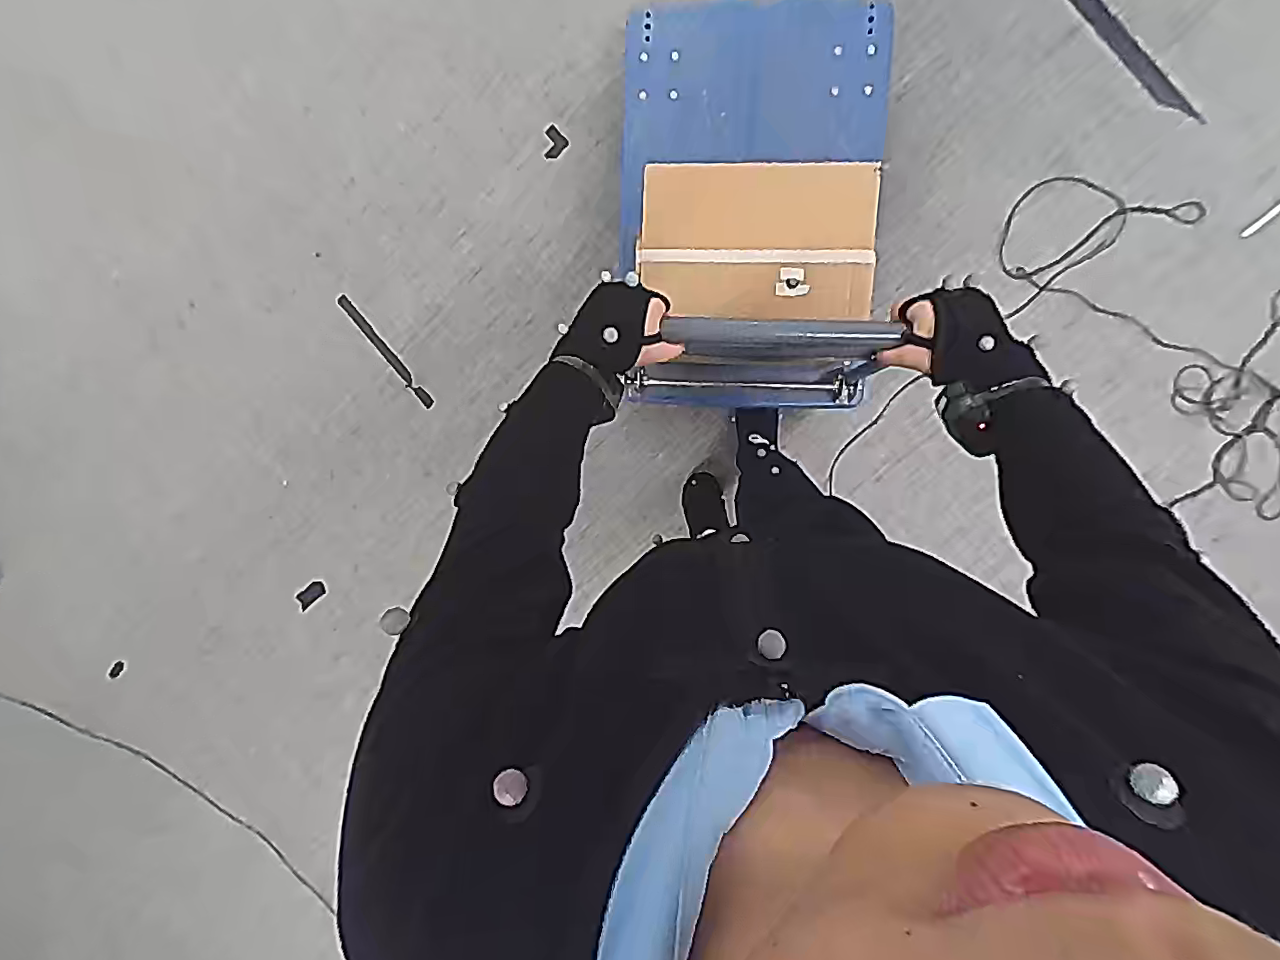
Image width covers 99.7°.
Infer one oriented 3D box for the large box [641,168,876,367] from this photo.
[{"bbox_3d":[0.213,-0.401,1.101,0.408,0.320,0.320,3,97,5],"label":"large box"}]
